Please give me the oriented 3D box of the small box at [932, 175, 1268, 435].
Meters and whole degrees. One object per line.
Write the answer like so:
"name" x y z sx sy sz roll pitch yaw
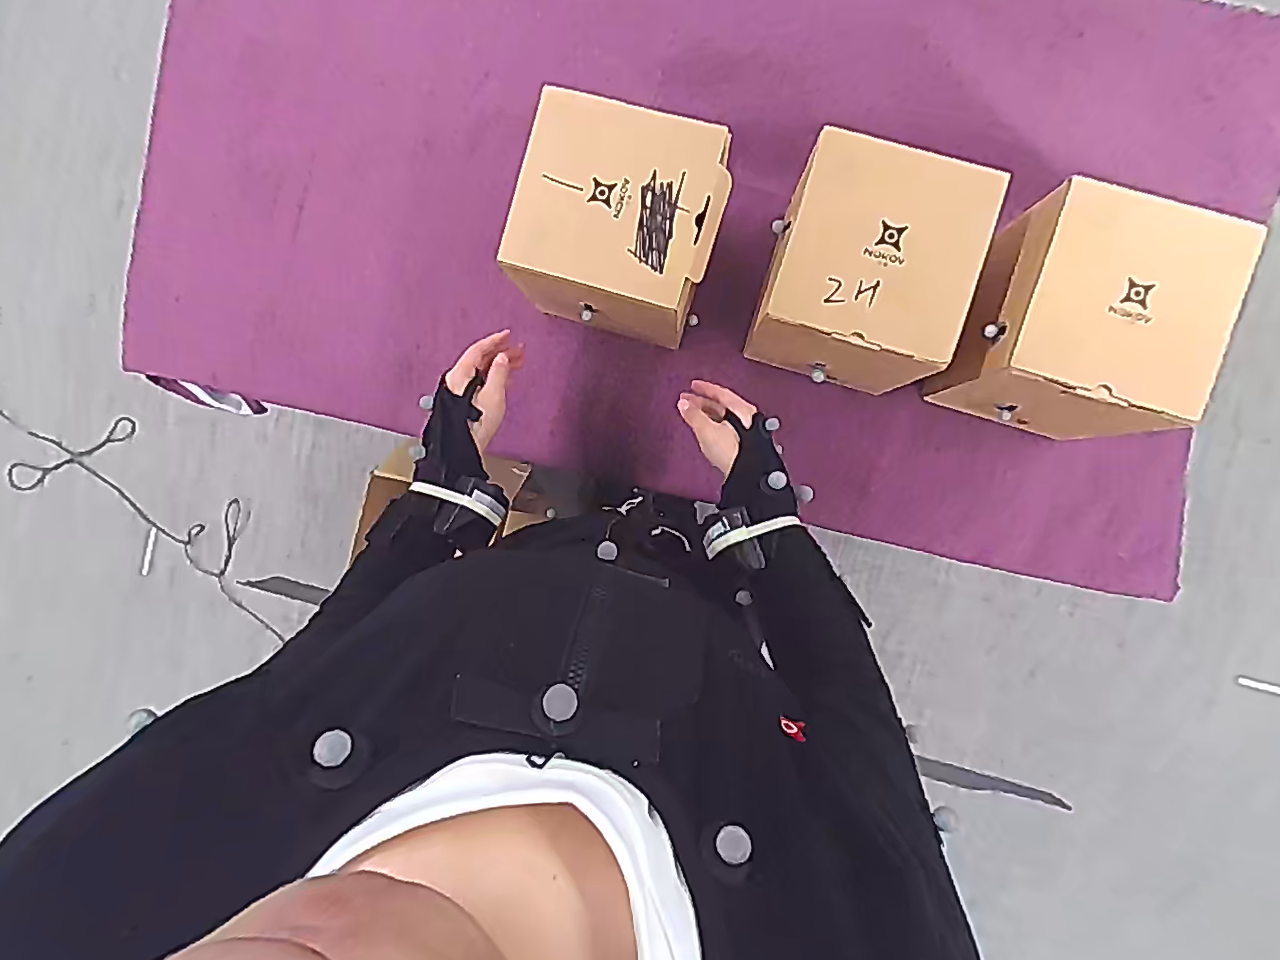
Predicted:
"small box" 0.423 -0.153 0.533 0.168 0.176 0.179 17 92 4

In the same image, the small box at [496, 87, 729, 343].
"small box" -0.020 -0.254 0.564 0.179 0.176 0.168 17 93 5
